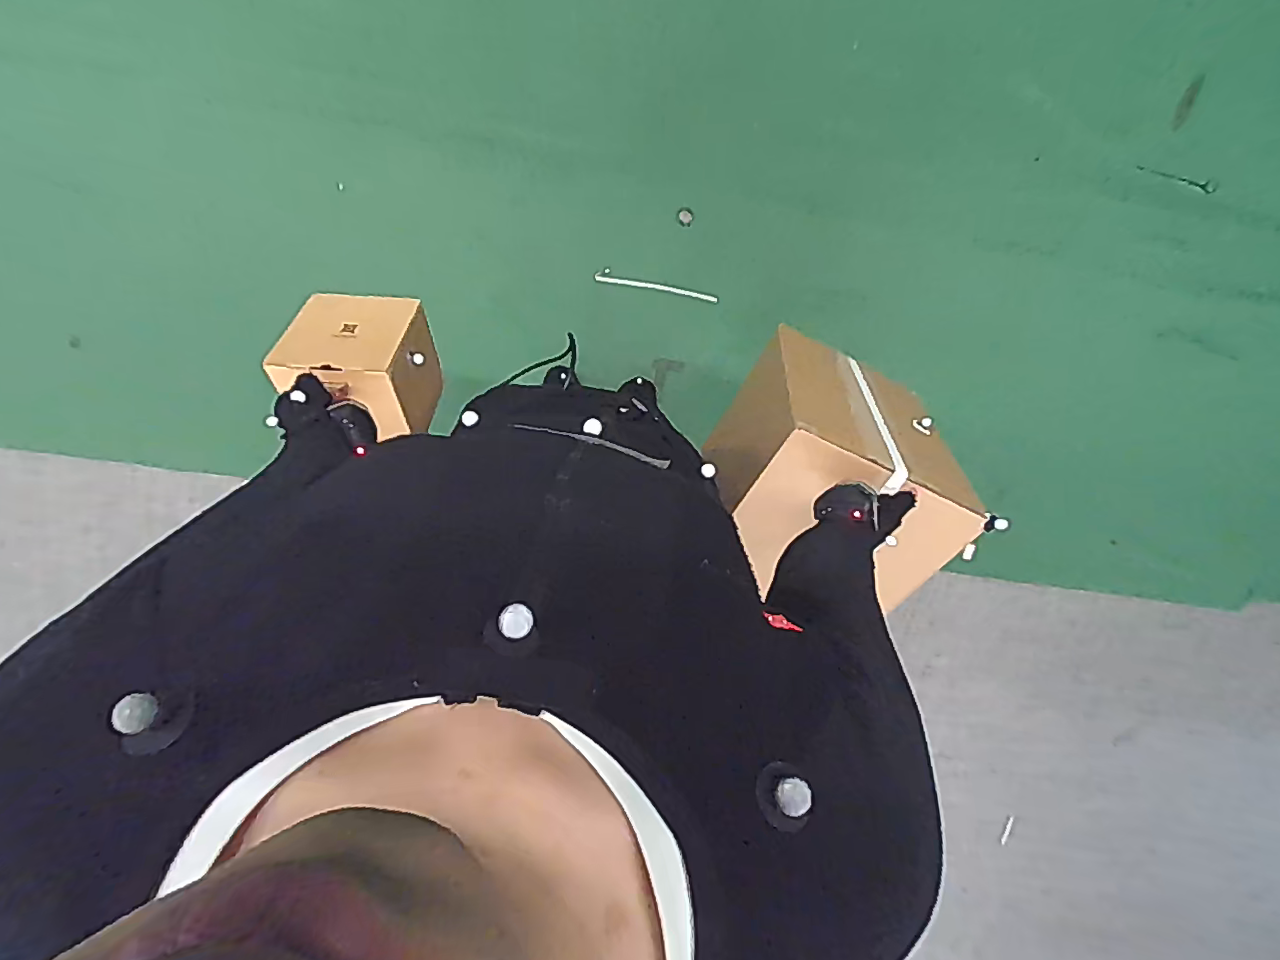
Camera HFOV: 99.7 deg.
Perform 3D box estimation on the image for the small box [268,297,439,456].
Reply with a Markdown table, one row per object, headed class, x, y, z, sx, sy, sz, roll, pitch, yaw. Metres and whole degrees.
| class | x | y | z | sx | sy | sz | roll | pitch | yaw |
| --- | --- | --- | --- | --- | --- | --- | --- | --- | --- |
| small box | -0.427 | -0.160 | 0.846 | 0.168 | 0.179 | 0.176 | 2 | 142 | -2 |
